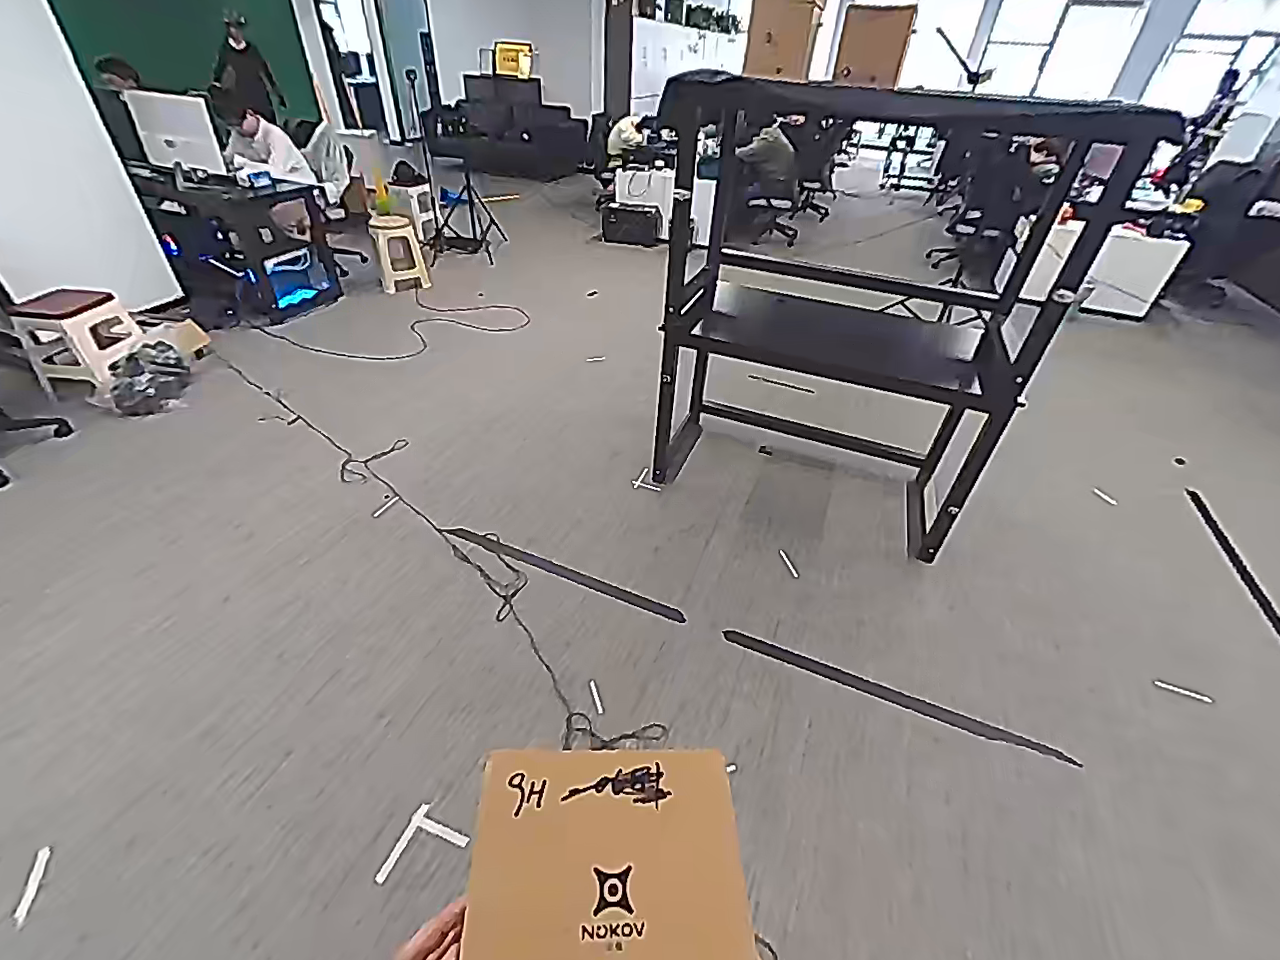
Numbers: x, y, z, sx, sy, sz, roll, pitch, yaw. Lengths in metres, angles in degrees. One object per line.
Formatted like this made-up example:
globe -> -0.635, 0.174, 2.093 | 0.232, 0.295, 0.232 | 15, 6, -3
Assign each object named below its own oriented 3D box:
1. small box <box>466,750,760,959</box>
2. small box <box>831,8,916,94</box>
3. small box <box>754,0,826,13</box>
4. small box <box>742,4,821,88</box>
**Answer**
small box -> -0.024, 0.303, 0.367 | 0.168, 0.176, 0.179 | 4, 45, -8
small box -> 0.620, -1.138, 1.442 | 0.168, 0.176, 0.179 | 17, 37, 17
small box -> 0.402, -1.318, 1.392 | 0.168, 0.176, 0.179 | 17, 38, 17
small box -> 0.386, -1.188, 1.489 | 0.168, 0.176, 0.179 | 17, 38, 14
